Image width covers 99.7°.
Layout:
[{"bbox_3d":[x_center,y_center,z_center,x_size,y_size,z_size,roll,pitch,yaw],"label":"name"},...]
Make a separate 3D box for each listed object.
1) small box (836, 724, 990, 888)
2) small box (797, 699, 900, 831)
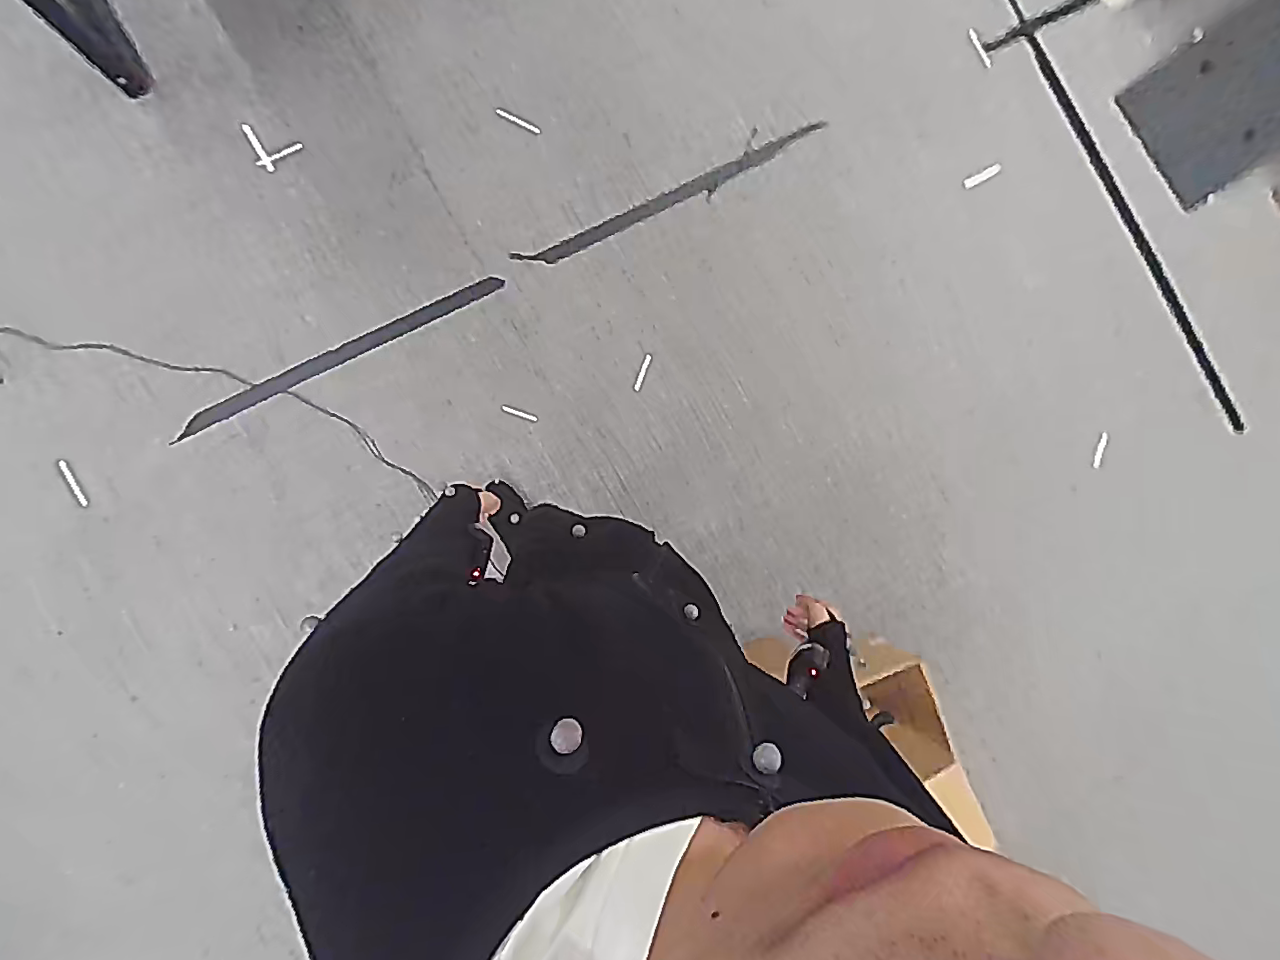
[{"bbox_3d":[0.512,0.611,1.037,0.168,0.176,0.179,-26,92,-8],"label":"small box"},{"bbox_3d":[0.482,0.618,1.198,0.179,0.176,0.168,-23,91,-7],"label":"small box"}]
